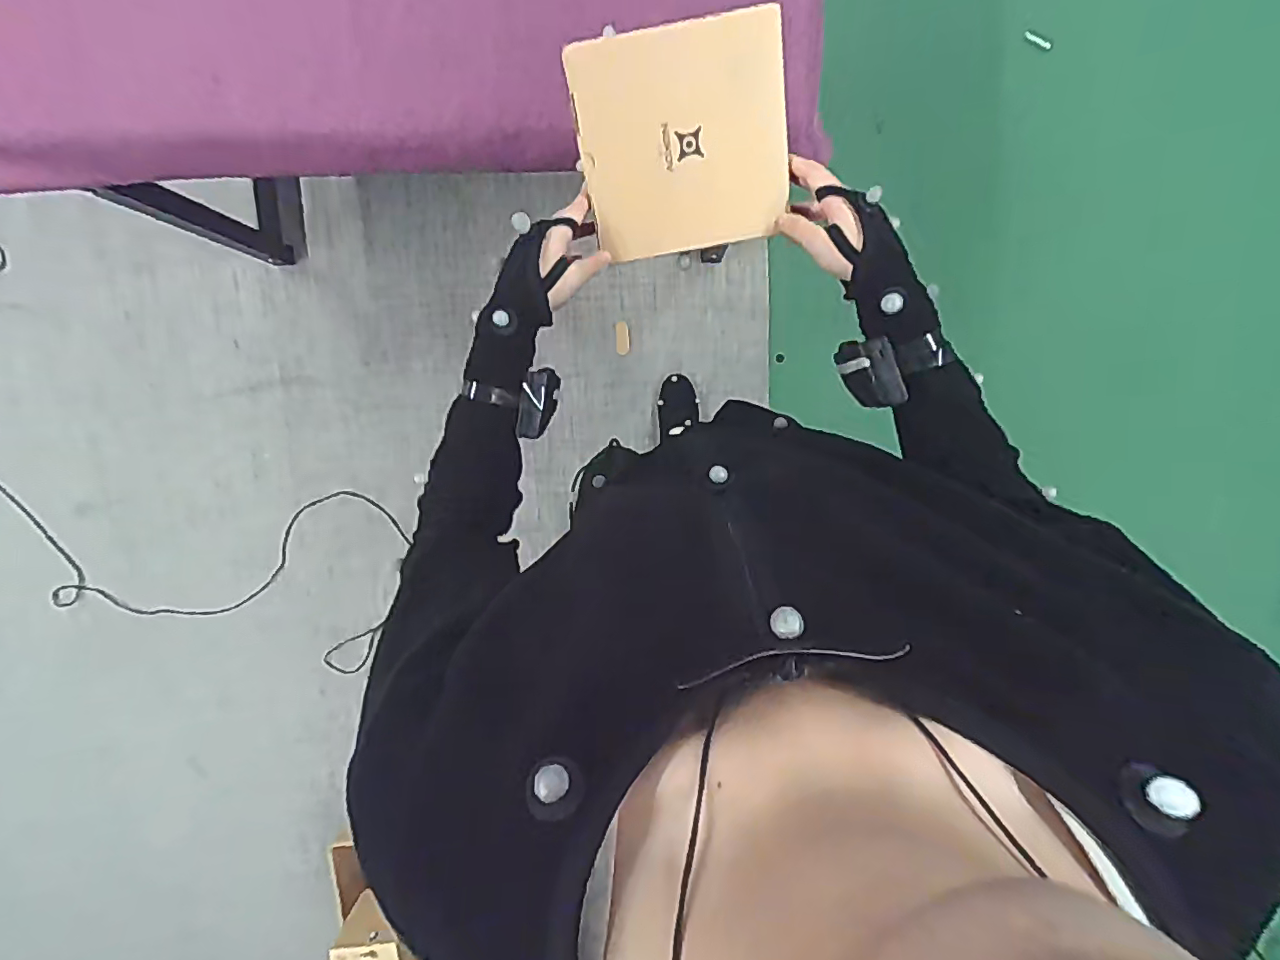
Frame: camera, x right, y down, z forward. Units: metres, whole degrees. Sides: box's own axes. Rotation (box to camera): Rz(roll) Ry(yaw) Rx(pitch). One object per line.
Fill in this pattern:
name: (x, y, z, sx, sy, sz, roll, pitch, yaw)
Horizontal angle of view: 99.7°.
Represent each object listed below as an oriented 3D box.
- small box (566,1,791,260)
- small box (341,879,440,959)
small box: (0.038, -0.322, 0.532, 0.179, 0.176, 0.168, -9, 113, 5)
small box: (-0.630, 1.178, 1.390, 0.168, 0.176, 0.179, -7, 97, 1)
